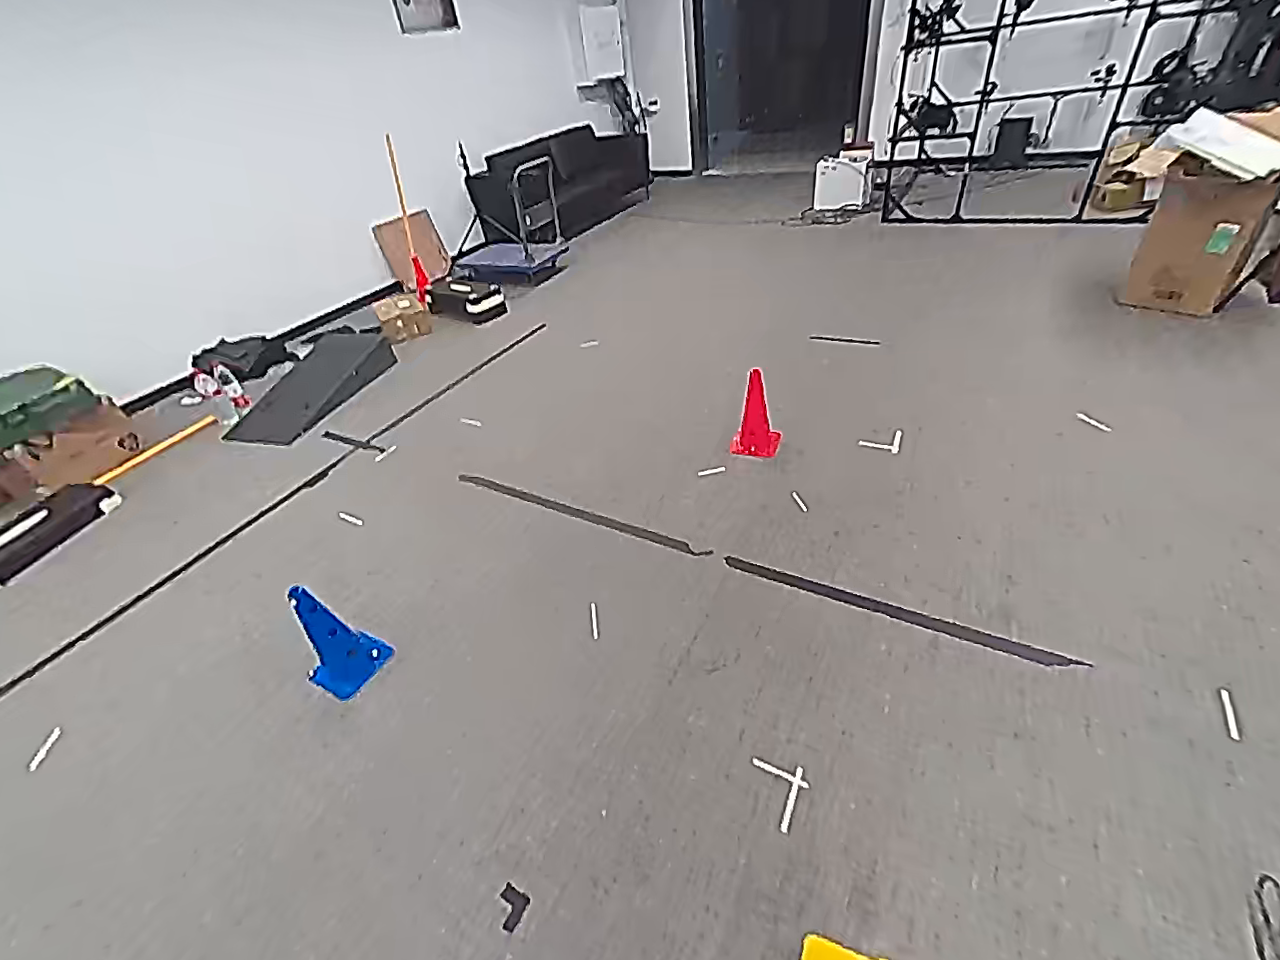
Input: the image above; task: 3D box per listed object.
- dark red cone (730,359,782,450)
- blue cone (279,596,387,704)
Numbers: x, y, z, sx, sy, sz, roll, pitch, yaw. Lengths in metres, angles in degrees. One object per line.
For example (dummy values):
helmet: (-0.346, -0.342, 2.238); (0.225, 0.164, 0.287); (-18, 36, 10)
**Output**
dark red cone: (0.489, -0.323, 2.265); (0.202, 0.394, 0.201); (8, 42, 21)
blue cone: (-0.933, 0.466, 1.591); (0.193, 0.380, 0.192); (14, 44, 28)
